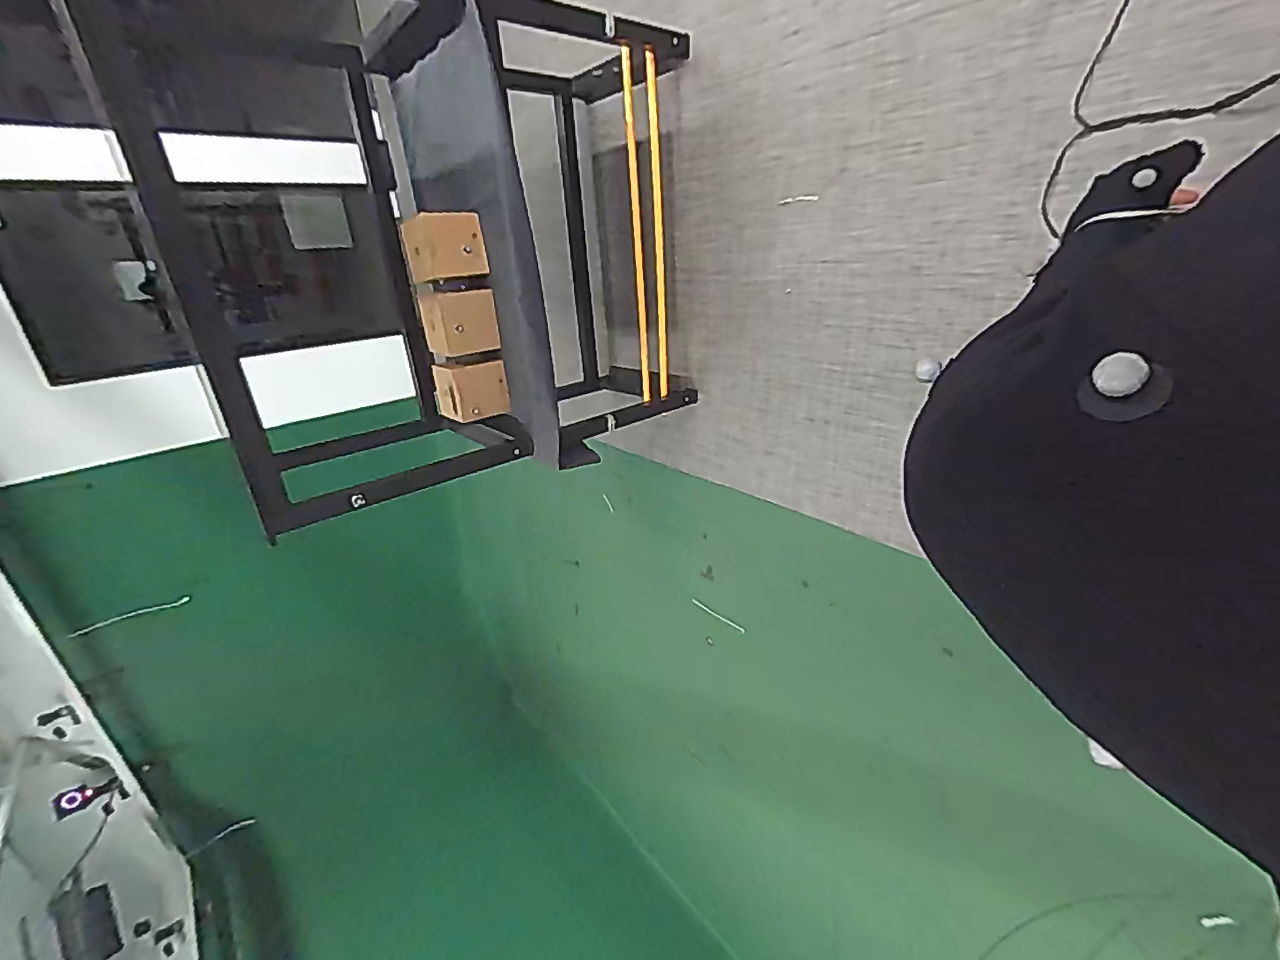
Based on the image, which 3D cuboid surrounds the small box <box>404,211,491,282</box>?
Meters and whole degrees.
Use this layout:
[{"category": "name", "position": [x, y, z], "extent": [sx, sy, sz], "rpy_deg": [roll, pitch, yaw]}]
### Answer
[{"category": "small box", "position": [-0.558, -0.676, 1.572], "extent": [0.179, 0.176, 0.168], "rpy_deg": [13, 118, 48]}]
